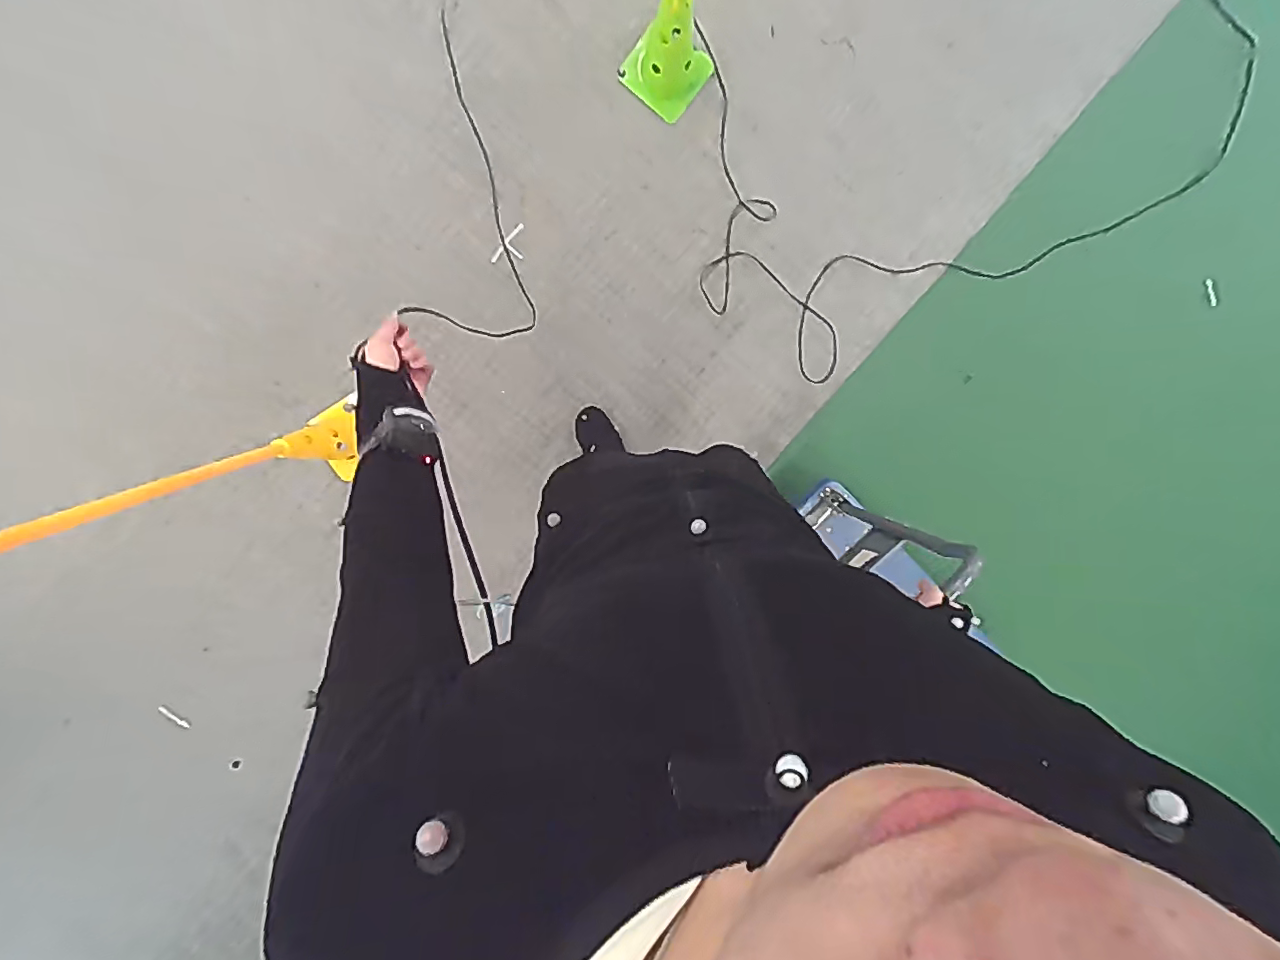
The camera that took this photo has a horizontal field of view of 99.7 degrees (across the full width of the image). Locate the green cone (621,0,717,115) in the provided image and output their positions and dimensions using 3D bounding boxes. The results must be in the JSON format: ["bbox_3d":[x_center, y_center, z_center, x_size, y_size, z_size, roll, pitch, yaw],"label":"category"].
[{"bbox_3d":[0.091,-1.083,1.266,0.200,0.368,0.202,36,94,-8],"label":"green cone"}]
